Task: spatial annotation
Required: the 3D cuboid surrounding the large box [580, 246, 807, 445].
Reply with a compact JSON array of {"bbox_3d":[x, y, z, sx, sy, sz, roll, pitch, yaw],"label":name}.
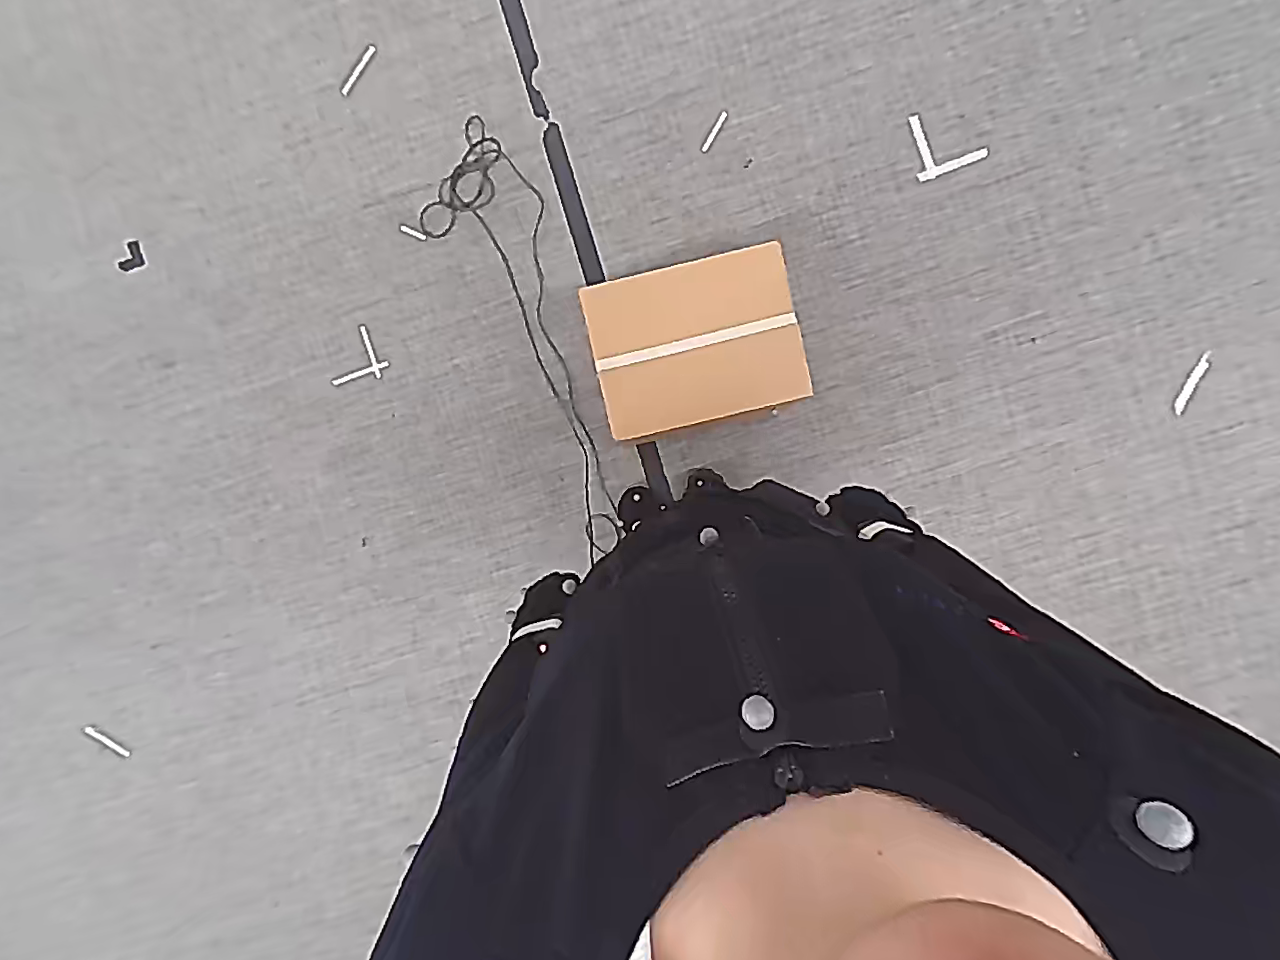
[{"bbox_3d":[0.111,-0.274,1.221,0.408,0.320,0.320,-13,91,2],"label":"large box"}]
